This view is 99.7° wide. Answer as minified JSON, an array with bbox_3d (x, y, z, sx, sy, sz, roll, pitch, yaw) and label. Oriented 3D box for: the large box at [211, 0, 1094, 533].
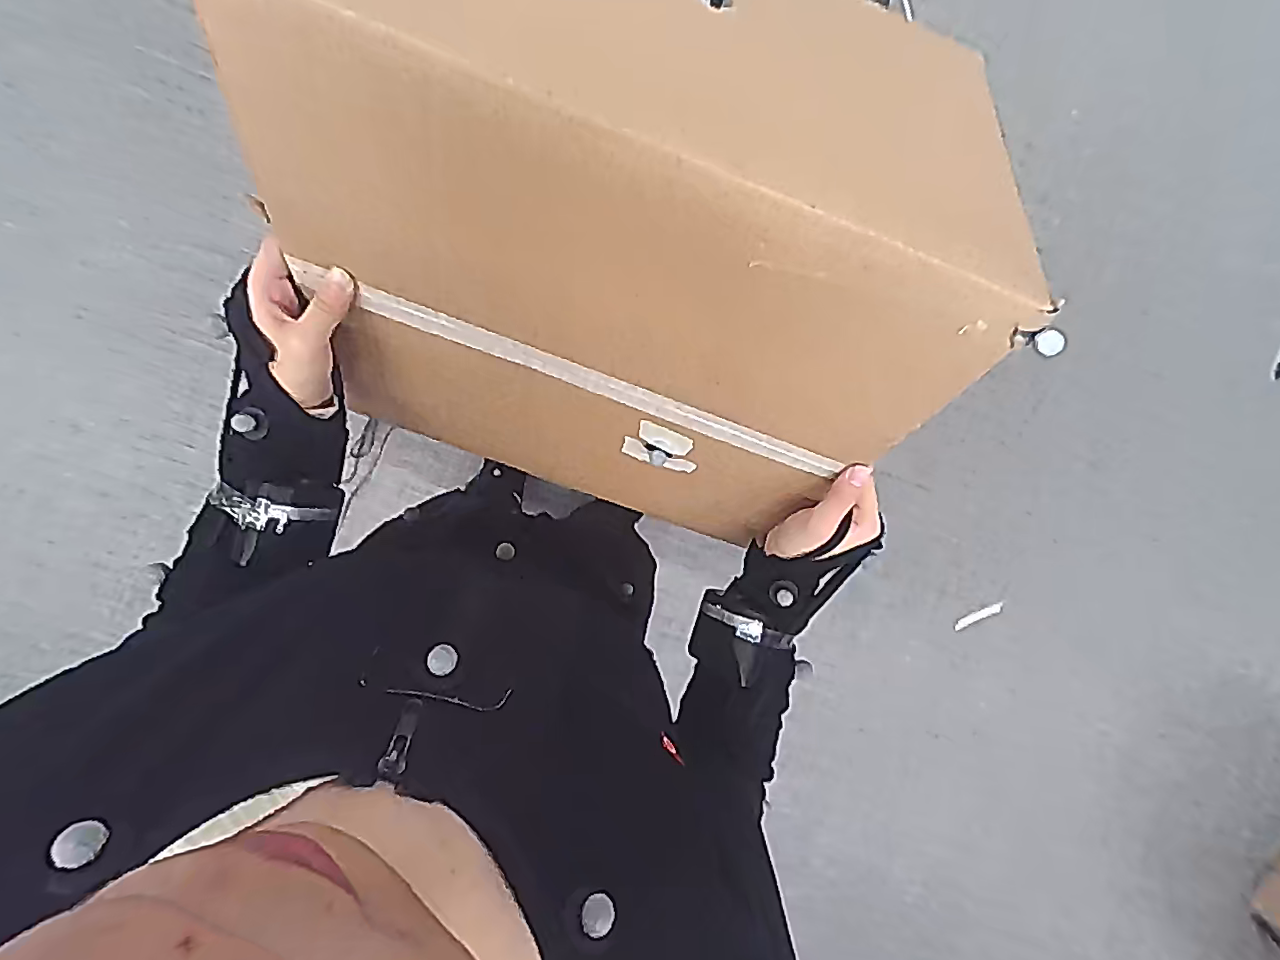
[{"bbox_3d":[0.008,-0.207,0.424,0.408,0.320,0.320,18,59,-6],"label":"large box"}]
